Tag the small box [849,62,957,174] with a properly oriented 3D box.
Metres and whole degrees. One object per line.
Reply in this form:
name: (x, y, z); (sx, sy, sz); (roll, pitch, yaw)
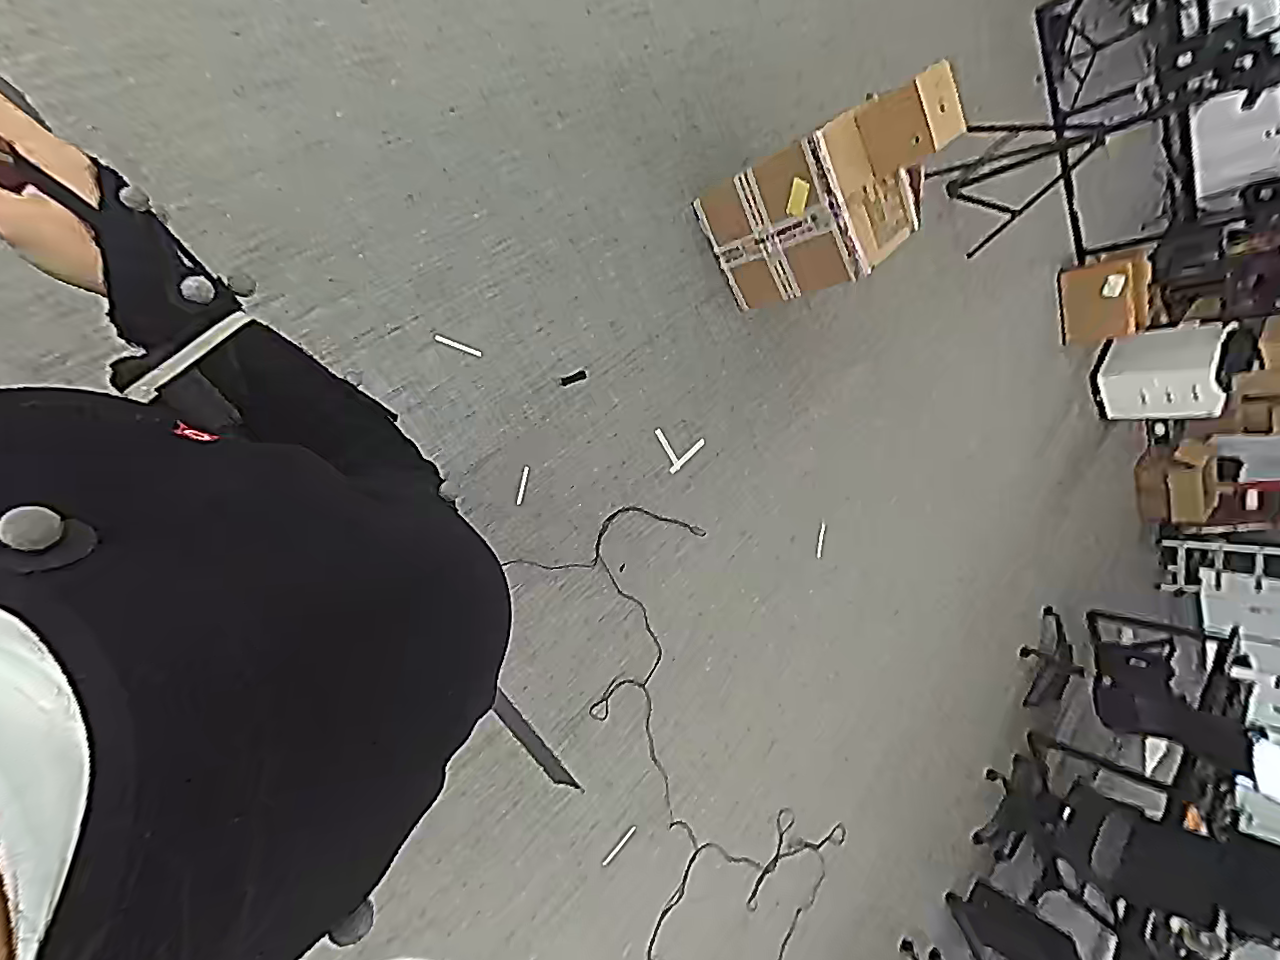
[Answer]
small box: (0.685, -0.934, 1.414); (0.168, 0.176, 0.179); (-40, 112, -24)
